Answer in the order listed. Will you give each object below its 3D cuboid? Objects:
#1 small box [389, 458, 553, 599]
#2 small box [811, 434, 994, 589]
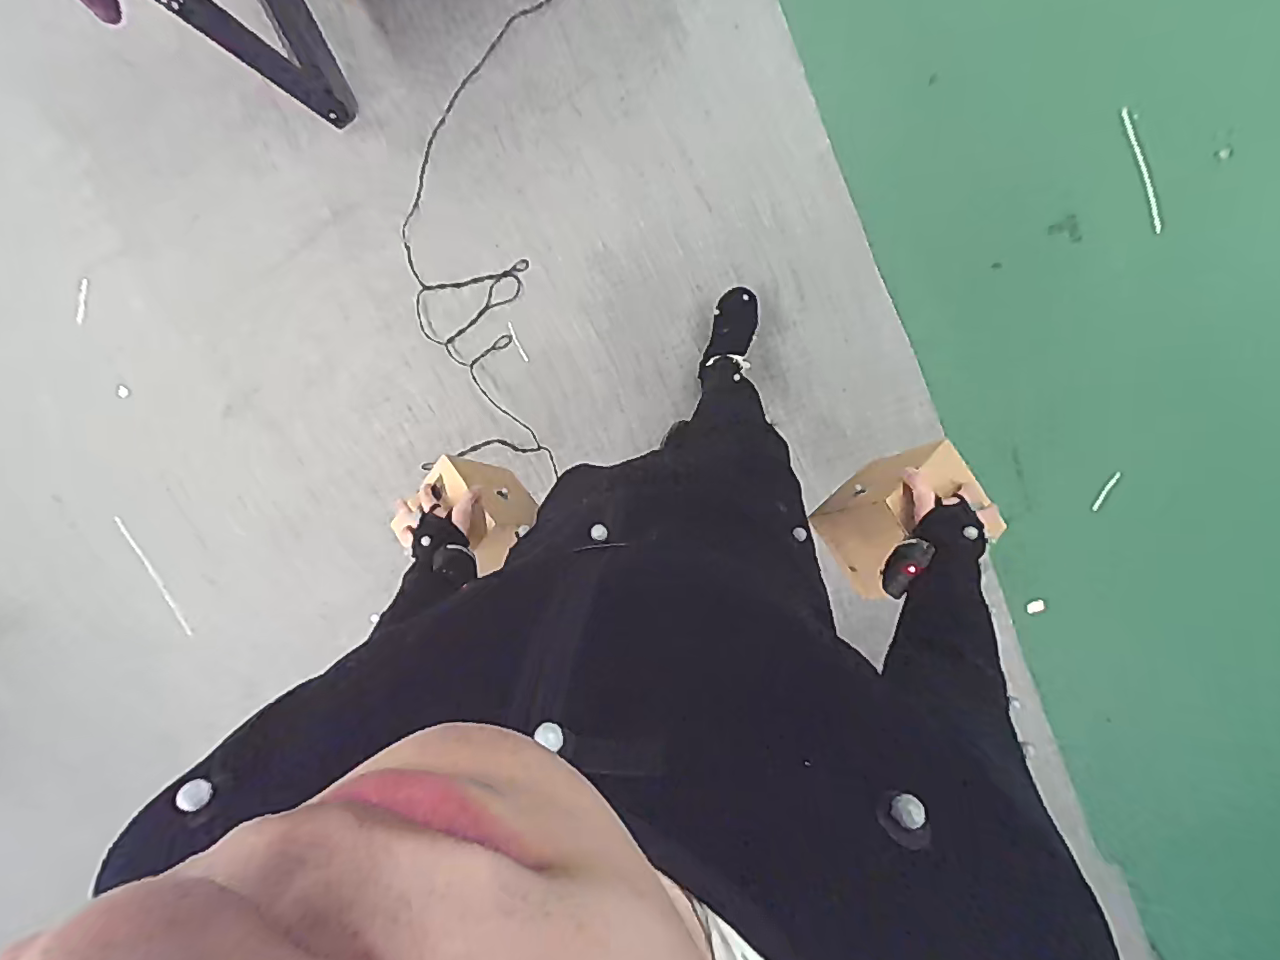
[{"bbox_3d":[-0.290,0.089,0.946,0.179,0.176,0.168,45,102,25],"label":"small box"},{"bbox_3d":[0.401,0.058,0.856,0.179,0.176,0.168,-37,92,-25],"label":"small box"}]
